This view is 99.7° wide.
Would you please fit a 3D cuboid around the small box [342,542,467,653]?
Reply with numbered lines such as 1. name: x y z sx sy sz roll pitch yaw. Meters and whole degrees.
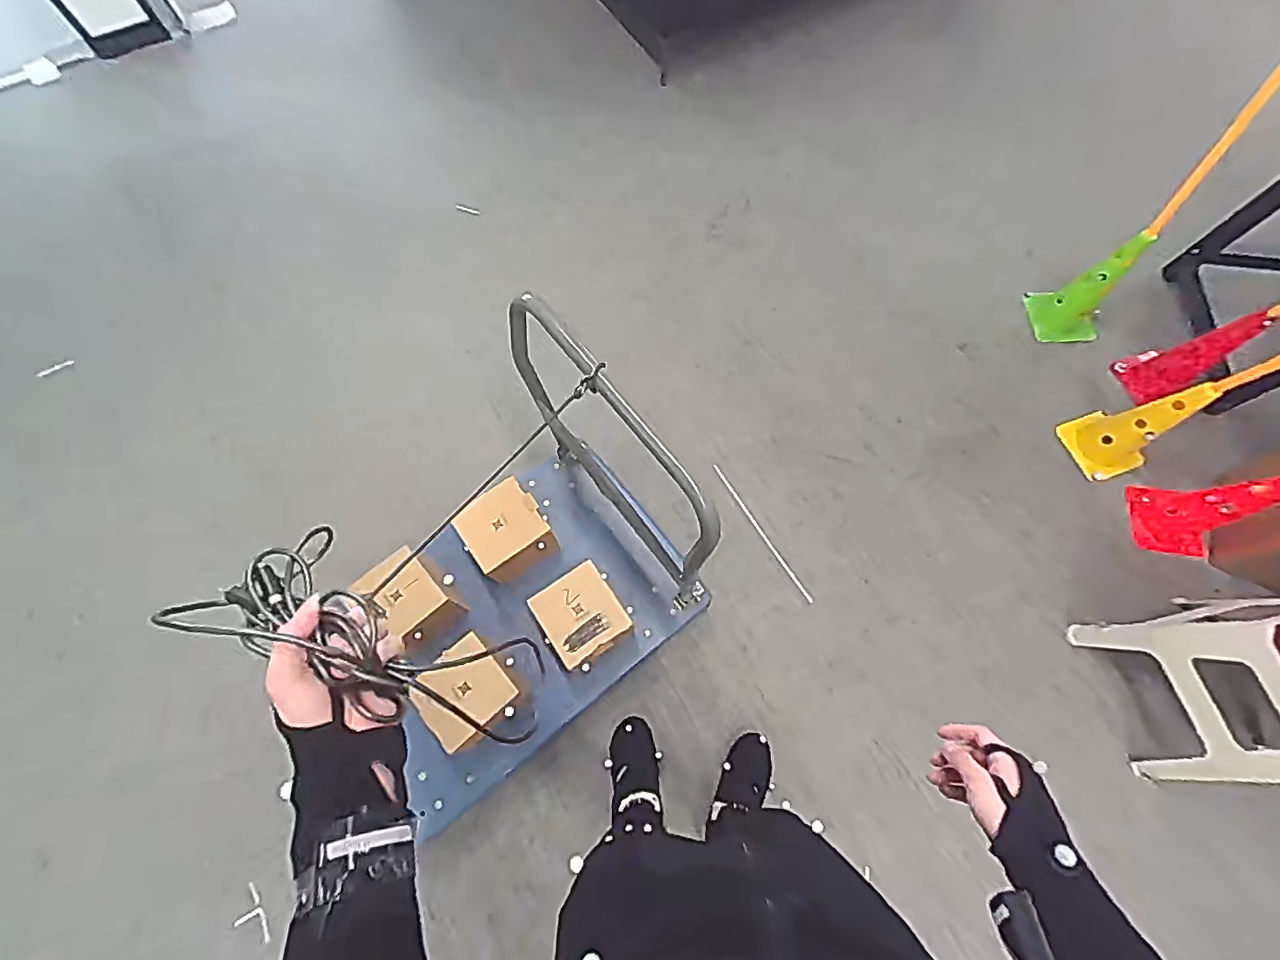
1. small box: -0.528 0.276 1.236 0.179 0.176 0.168 -39 75 -15

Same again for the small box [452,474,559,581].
1. small box: -0.314 0.122 1.299 0.179 0.176 0.168 -35 73 -13

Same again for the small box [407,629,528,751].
1. small box: -0.360 0.450 1.171 0.179 0.176 0.168 -40 74 -14
